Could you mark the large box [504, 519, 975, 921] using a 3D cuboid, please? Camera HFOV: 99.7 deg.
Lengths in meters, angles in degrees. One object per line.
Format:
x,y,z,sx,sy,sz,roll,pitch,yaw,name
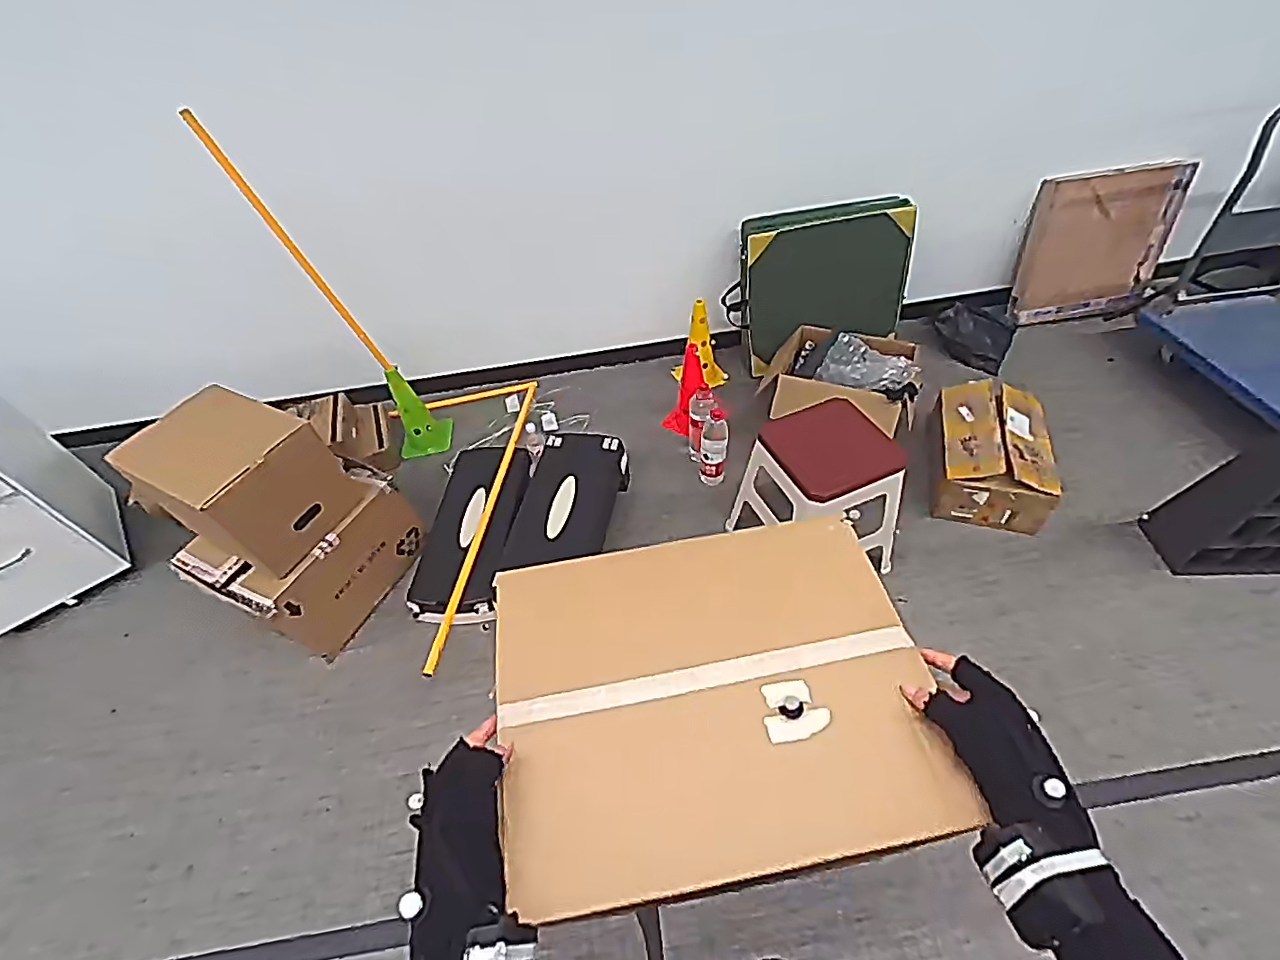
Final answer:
0.072,0.290,0.649,0.408,0.320,0.320,-9,51,-4,large box
